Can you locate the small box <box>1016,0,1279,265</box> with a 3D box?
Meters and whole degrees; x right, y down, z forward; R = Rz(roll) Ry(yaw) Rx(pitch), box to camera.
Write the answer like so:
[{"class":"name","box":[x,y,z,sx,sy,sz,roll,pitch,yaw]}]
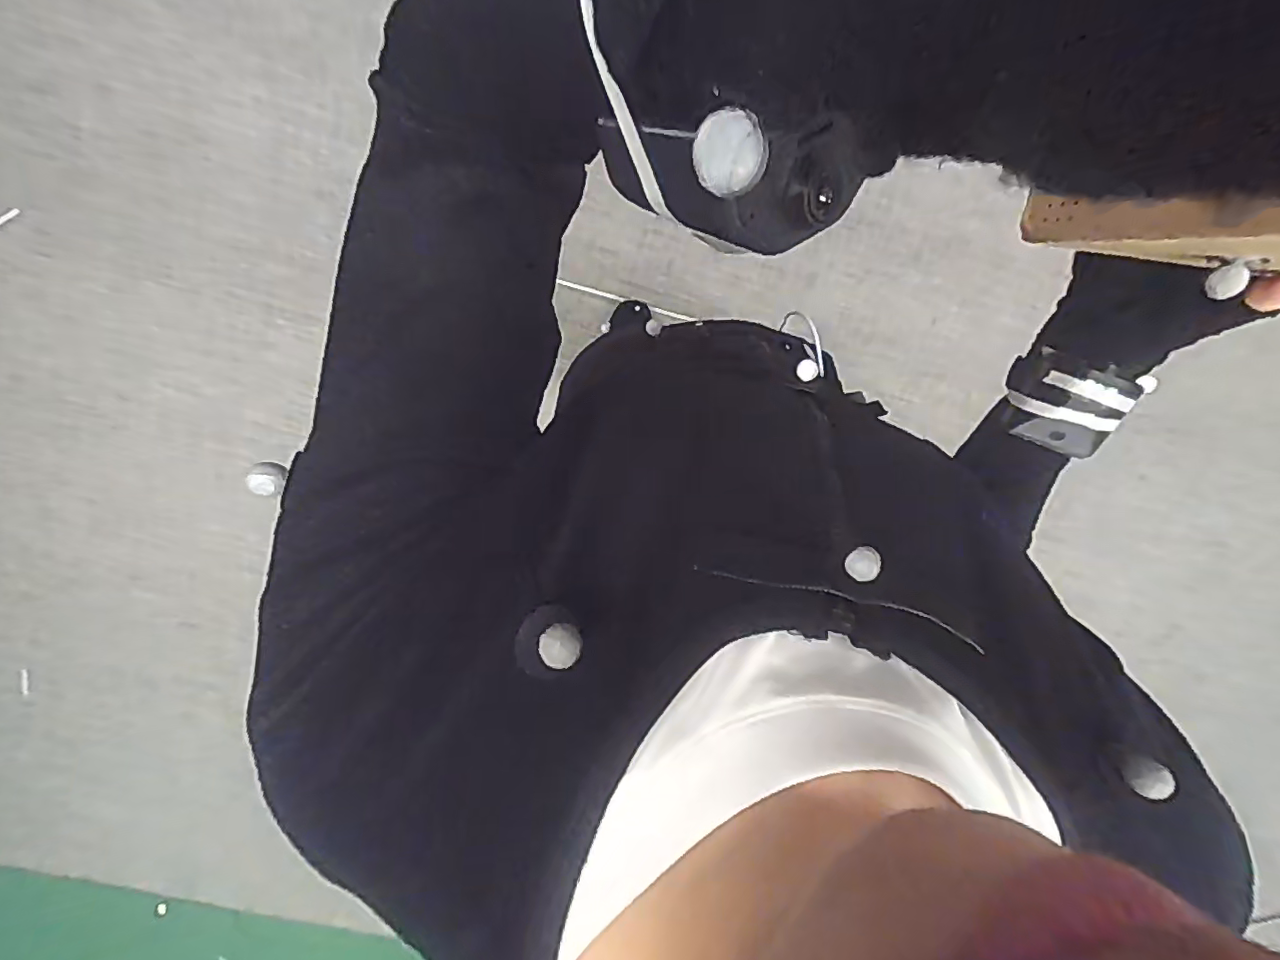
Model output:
[{"class":"small box","box":[0.290,-0.166,0.185,0.179,0.176,0.168,1,114,-15]}]
